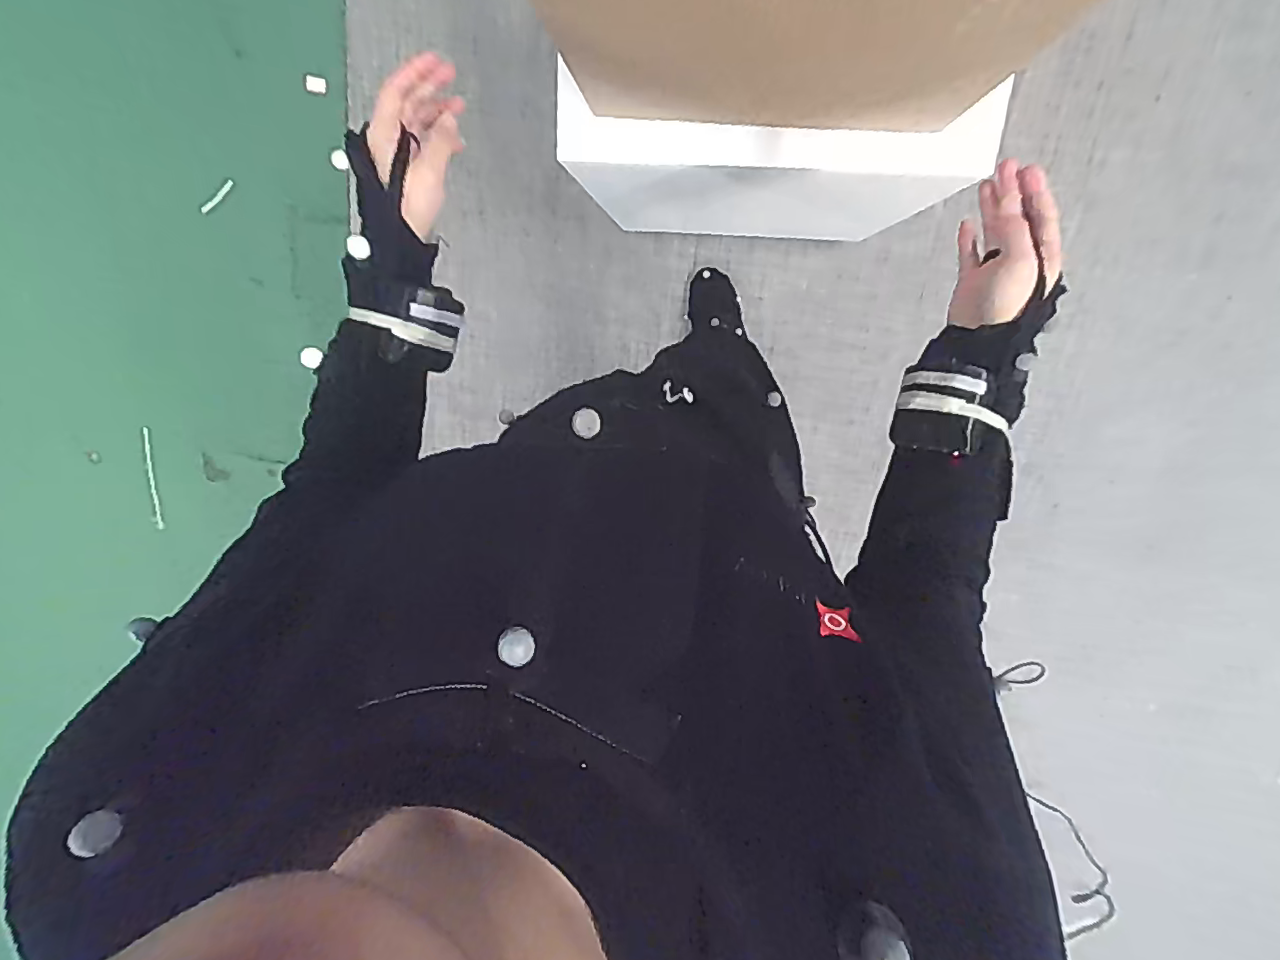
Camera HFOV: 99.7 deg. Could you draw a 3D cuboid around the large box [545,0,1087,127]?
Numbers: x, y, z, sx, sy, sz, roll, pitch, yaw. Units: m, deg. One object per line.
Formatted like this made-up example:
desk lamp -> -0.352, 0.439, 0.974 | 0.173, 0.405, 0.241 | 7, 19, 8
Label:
large box -> 0.137, -0.519, 0.446 | 0.408, 0.320, 0.320 | 5, 107, 4
